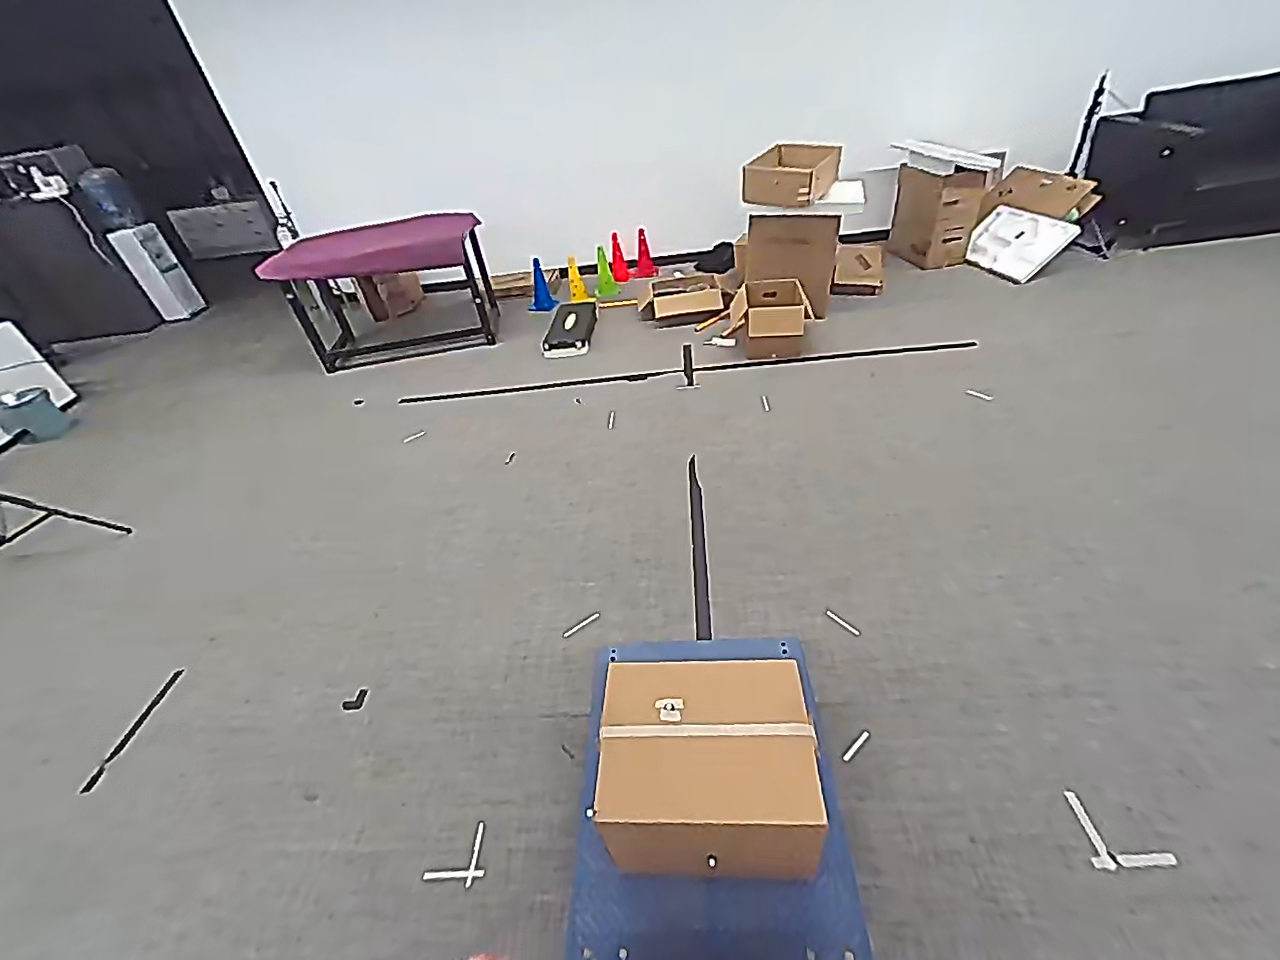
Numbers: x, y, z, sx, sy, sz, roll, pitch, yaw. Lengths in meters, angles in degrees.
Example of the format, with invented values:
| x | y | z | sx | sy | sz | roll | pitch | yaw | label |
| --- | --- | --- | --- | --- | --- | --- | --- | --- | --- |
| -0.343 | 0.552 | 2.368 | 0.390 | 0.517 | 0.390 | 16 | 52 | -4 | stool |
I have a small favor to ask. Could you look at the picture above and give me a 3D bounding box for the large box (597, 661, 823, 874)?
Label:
| x | y | z | sx | sy | sz | roll | pitch | yaw | label |
| --- | --- | --- | --- | --- | --- | --- | --- | --- | --- |
| 0.145 | 0.617 | 1.155 | 0.408 | 0.320 | 0.320 | -5 | 38 | 7 | large box |
